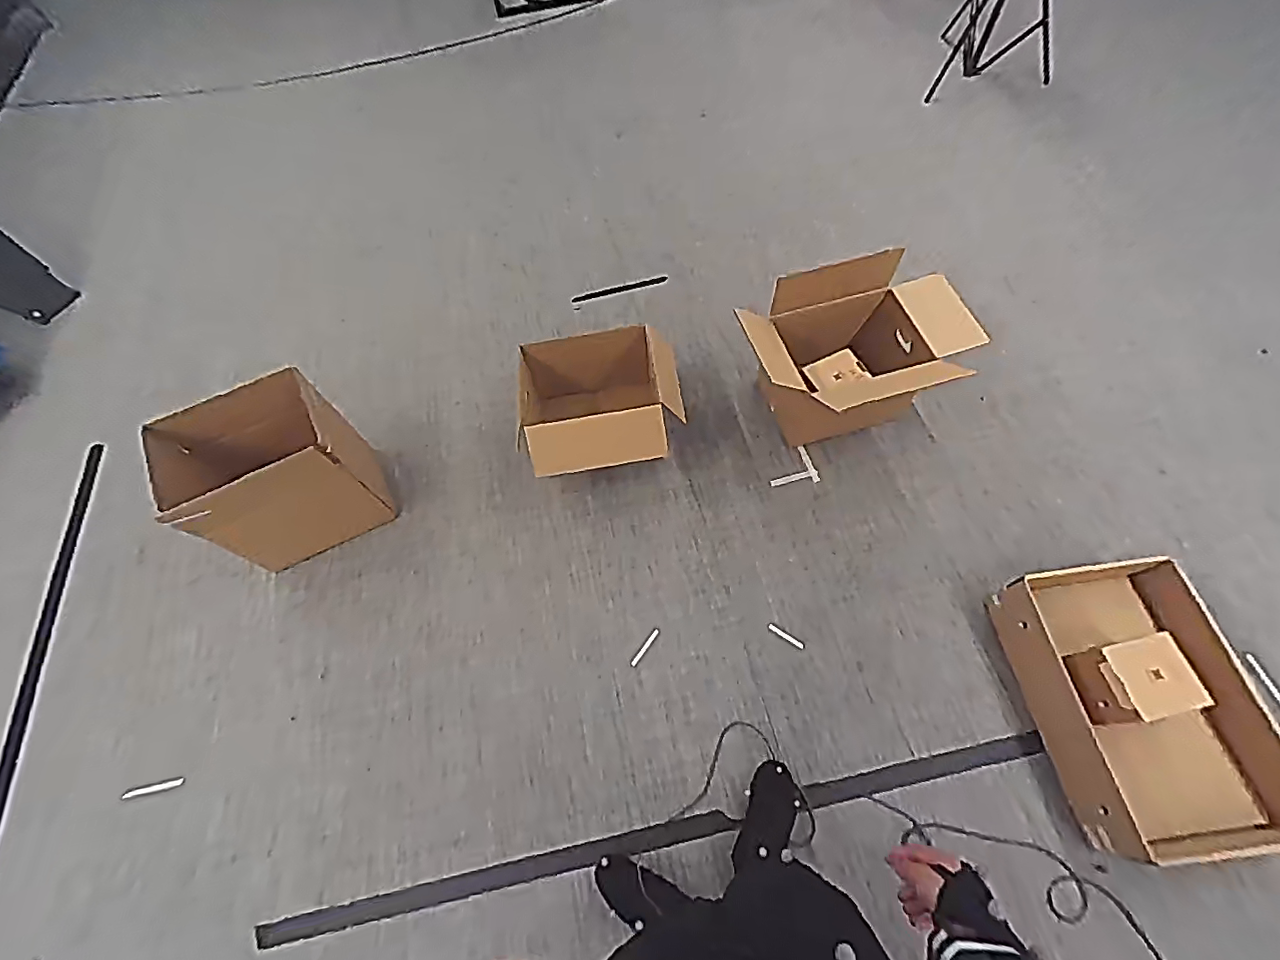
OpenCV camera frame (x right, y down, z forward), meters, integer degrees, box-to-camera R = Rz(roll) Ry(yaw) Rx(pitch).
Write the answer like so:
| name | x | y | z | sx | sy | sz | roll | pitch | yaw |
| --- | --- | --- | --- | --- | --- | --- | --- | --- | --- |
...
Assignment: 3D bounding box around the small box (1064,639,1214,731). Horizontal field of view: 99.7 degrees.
| name | x | y | z | sx | sy | sz | roll | pitch | yaw |
| --- | --- | --- | --- | --- | --- | --- | --- | --- | --- |
| small box | 1.170 | 0.494 | 1.292 | 0.179 | 0.176 | 0.168 | -12 | 64 | -3 |
